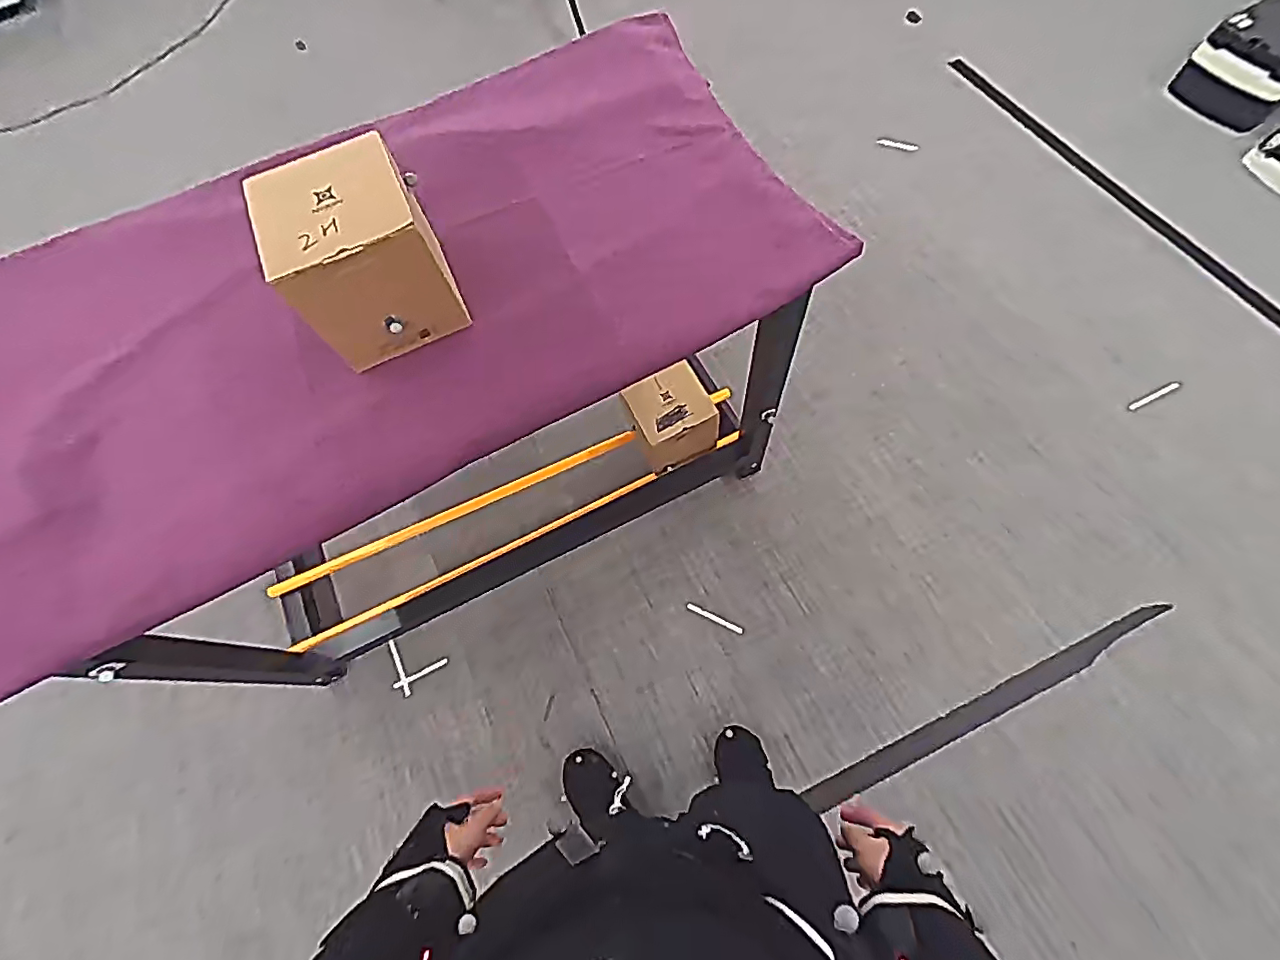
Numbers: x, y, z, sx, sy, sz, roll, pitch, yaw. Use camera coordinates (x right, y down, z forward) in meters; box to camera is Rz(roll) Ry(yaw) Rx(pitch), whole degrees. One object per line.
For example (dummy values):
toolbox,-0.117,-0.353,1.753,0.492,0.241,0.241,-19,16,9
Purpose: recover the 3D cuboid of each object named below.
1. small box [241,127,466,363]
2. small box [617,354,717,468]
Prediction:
small box,-0.339,-0.278,0.663,0.168,0.176,0.179,-25,68,-5
small box,0.064,-0.147,1.240,0.168,0.176,0.179,-26,67,-5
